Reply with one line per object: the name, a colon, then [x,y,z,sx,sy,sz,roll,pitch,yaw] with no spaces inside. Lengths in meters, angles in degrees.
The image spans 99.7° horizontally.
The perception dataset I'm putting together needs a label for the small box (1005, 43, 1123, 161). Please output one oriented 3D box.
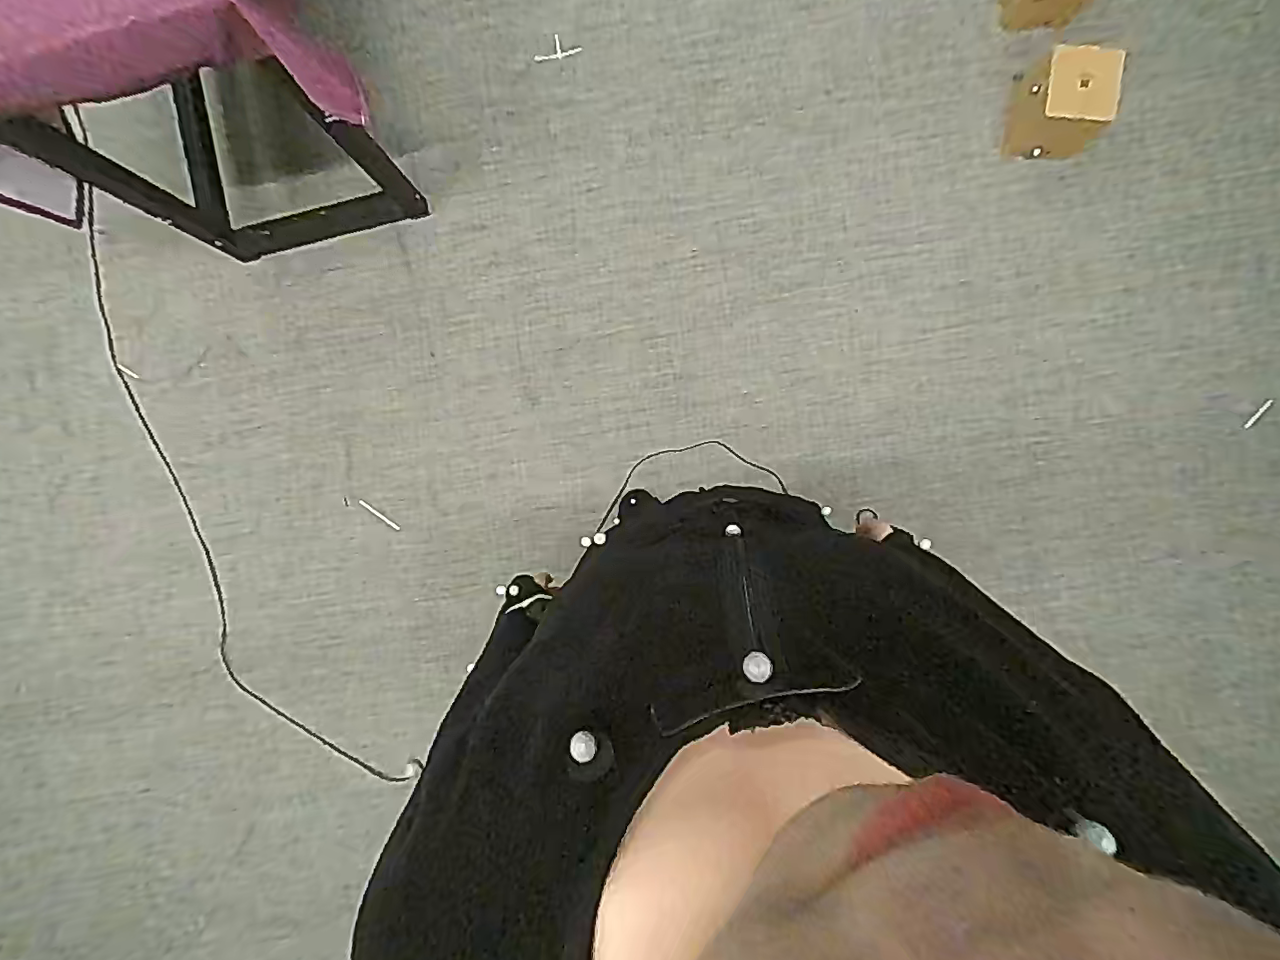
small box: [1.066,-0.954,1.374,0.168,0.176,0.179,8,91,4]
